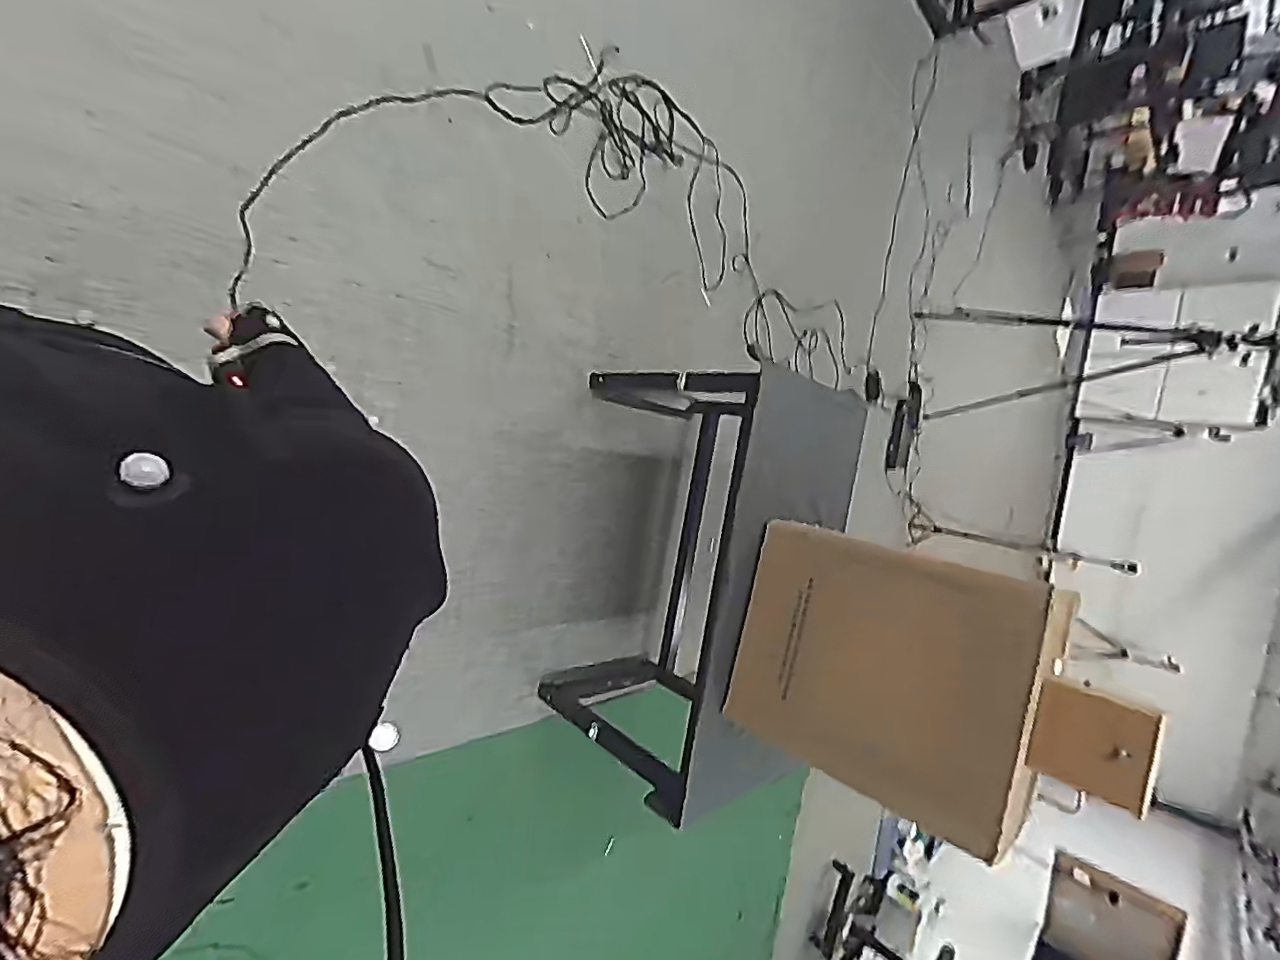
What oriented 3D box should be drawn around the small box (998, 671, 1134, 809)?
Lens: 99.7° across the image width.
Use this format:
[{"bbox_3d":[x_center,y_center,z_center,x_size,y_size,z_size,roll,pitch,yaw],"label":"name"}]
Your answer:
[{"bbox_3d":[0.814,0.487,1.040,0.168,0.176,0.179,17,87,-43],"label":"small box"}]
